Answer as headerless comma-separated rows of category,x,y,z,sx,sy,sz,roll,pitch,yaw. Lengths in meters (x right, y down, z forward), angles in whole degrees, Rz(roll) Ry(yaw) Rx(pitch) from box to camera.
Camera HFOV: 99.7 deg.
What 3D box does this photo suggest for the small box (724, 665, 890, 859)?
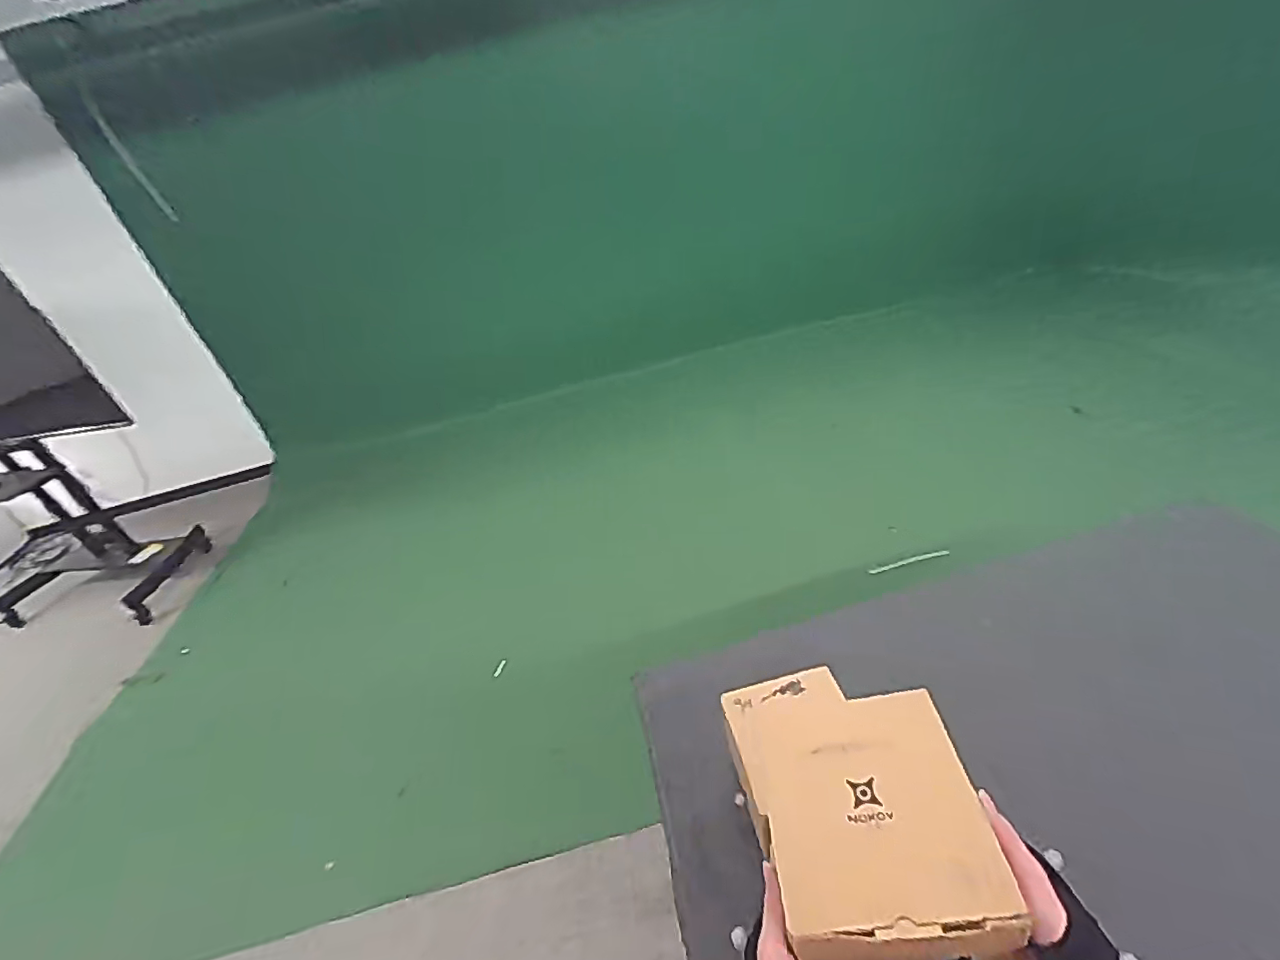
small box,0.230,0.401,0.765,0.168,0.176,0.179,-14,34,-2
